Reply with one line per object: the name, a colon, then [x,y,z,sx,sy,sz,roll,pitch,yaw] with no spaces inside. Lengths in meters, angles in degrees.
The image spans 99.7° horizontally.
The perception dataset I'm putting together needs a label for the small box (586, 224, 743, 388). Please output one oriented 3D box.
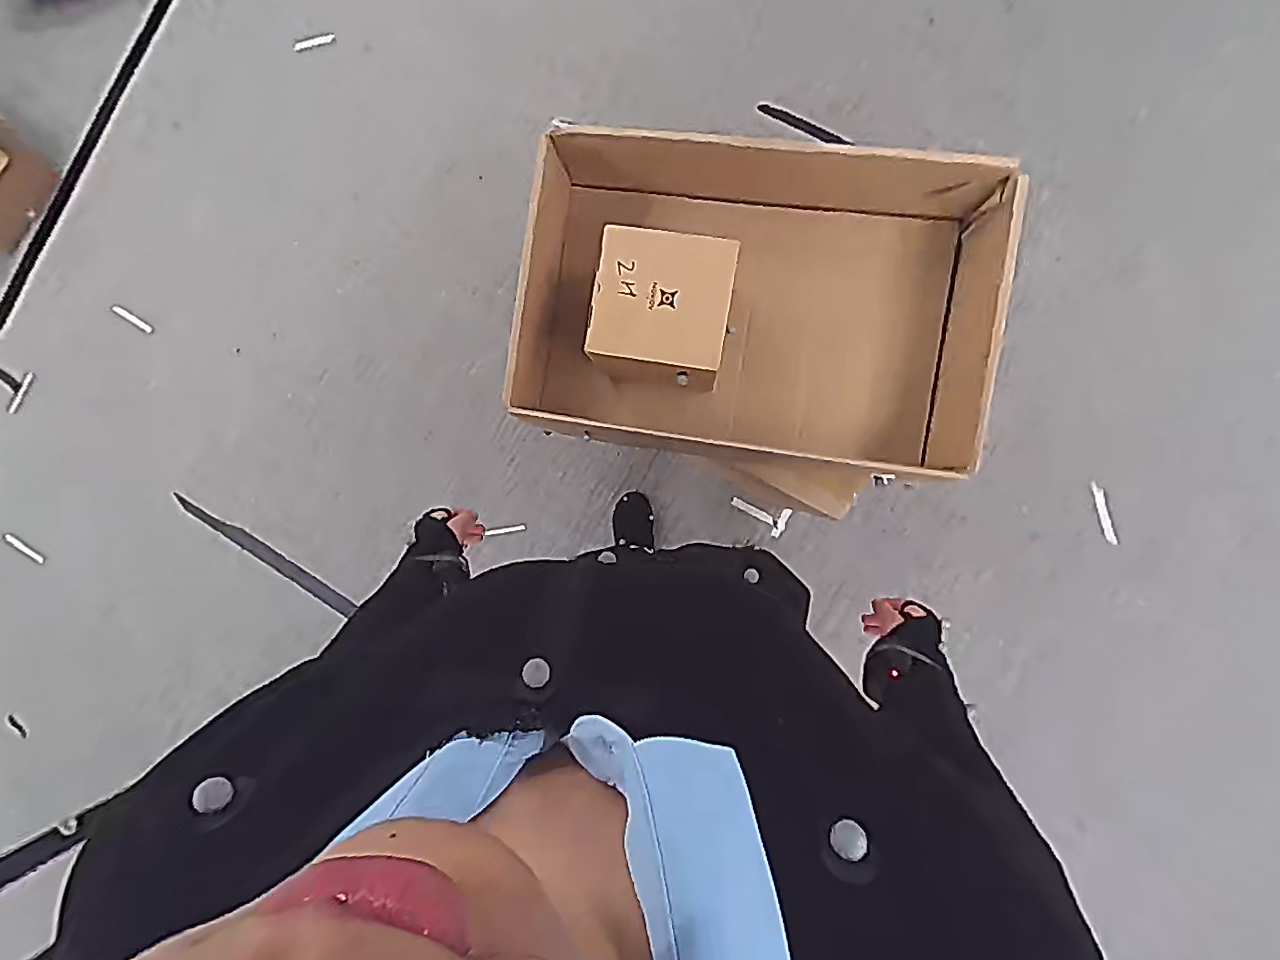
small box: [0.036,-0.231,0.760,0.179,0.176,0.168,10,91,5]
